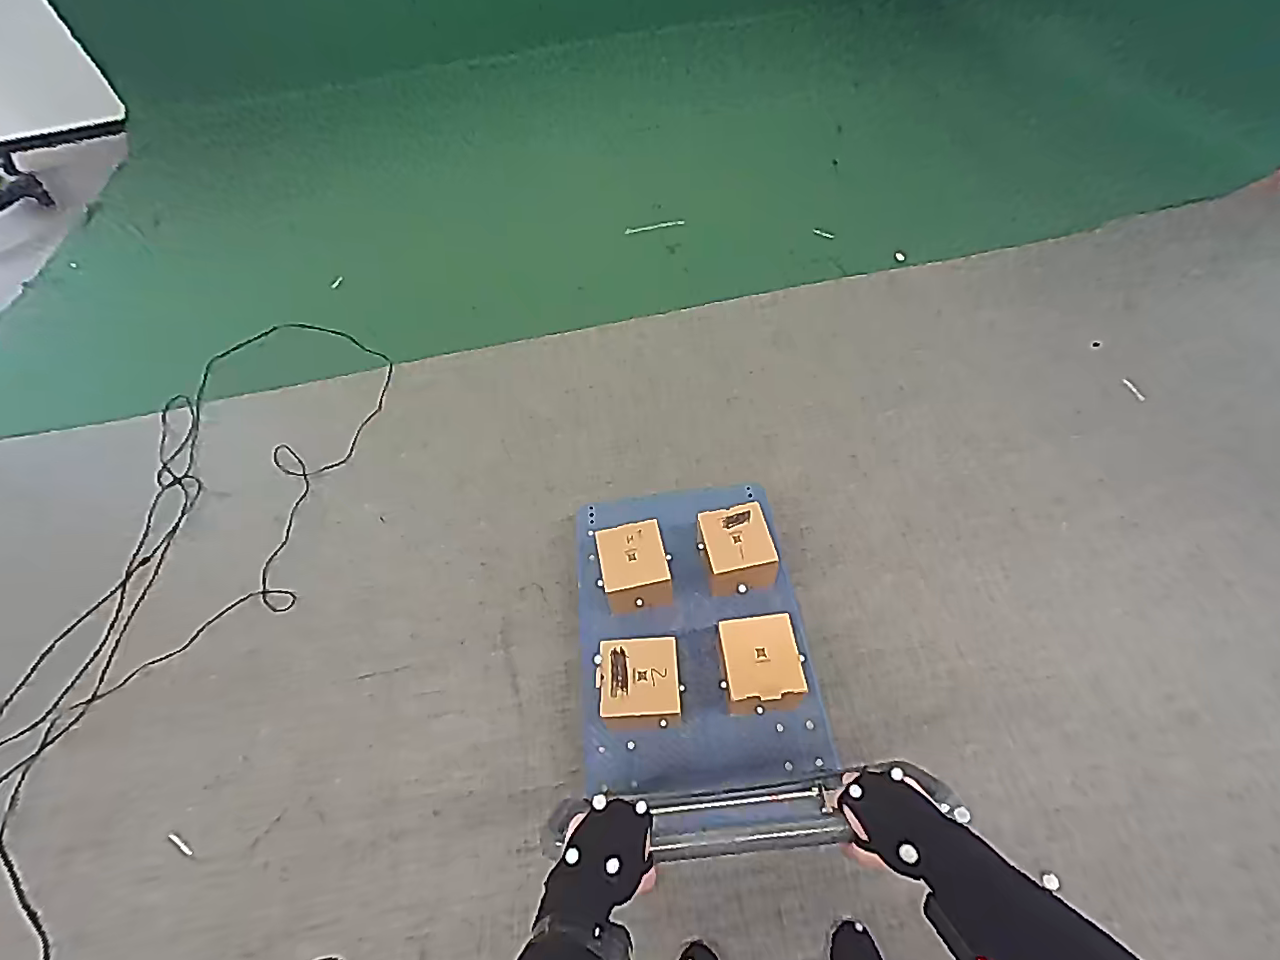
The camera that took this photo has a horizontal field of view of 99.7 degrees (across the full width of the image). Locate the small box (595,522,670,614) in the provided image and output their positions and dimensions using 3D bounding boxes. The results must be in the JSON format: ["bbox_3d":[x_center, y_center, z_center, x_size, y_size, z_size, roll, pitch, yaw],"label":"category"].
[{"bbox_3d":[-0.017,0.239,1.424,0.168,0.176,0.179,-11,56,-3],"label":"small box"}]

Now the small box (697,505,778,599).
[{"bbox_3d":[0.249,0.194,1.431,0.168,0.176,0.179,-11,57,-2],"label":"small box"}]

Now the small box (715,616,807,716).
[{"bbox_3d":[0.273,0.439,1.266,0.168,0.176,0.179,-7,56,0],"label":"small box"}]
